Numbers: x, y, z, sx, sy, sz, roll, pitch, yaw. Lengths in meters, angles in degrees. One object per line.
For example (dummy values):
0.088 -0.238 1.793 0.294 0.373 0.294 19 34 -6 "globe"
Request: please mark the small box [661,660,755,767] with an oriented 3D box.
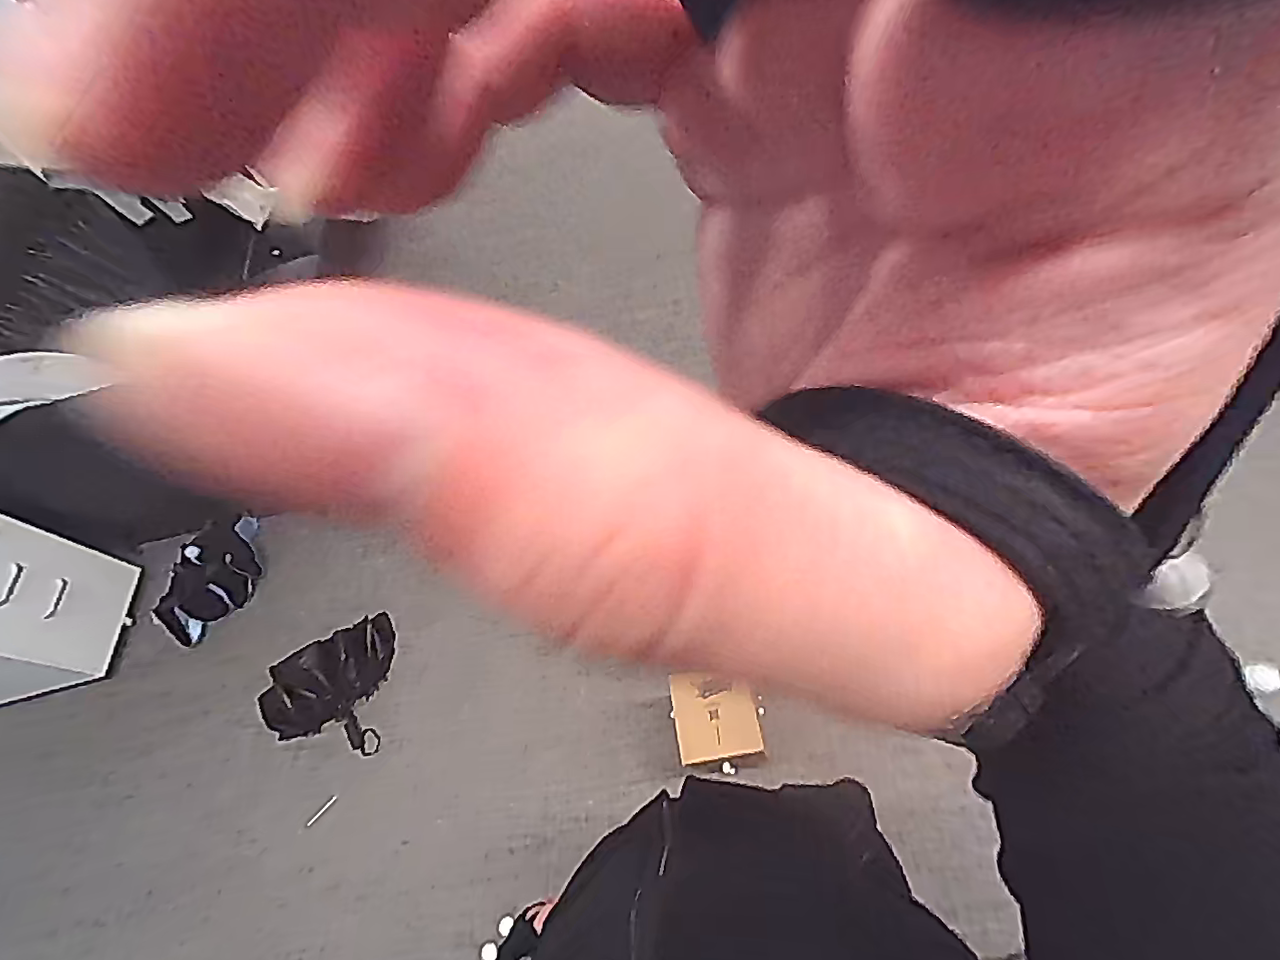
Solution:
0.148 0.506 1.165 0.168 0.176 0.179 -13 58 7 "small box"
